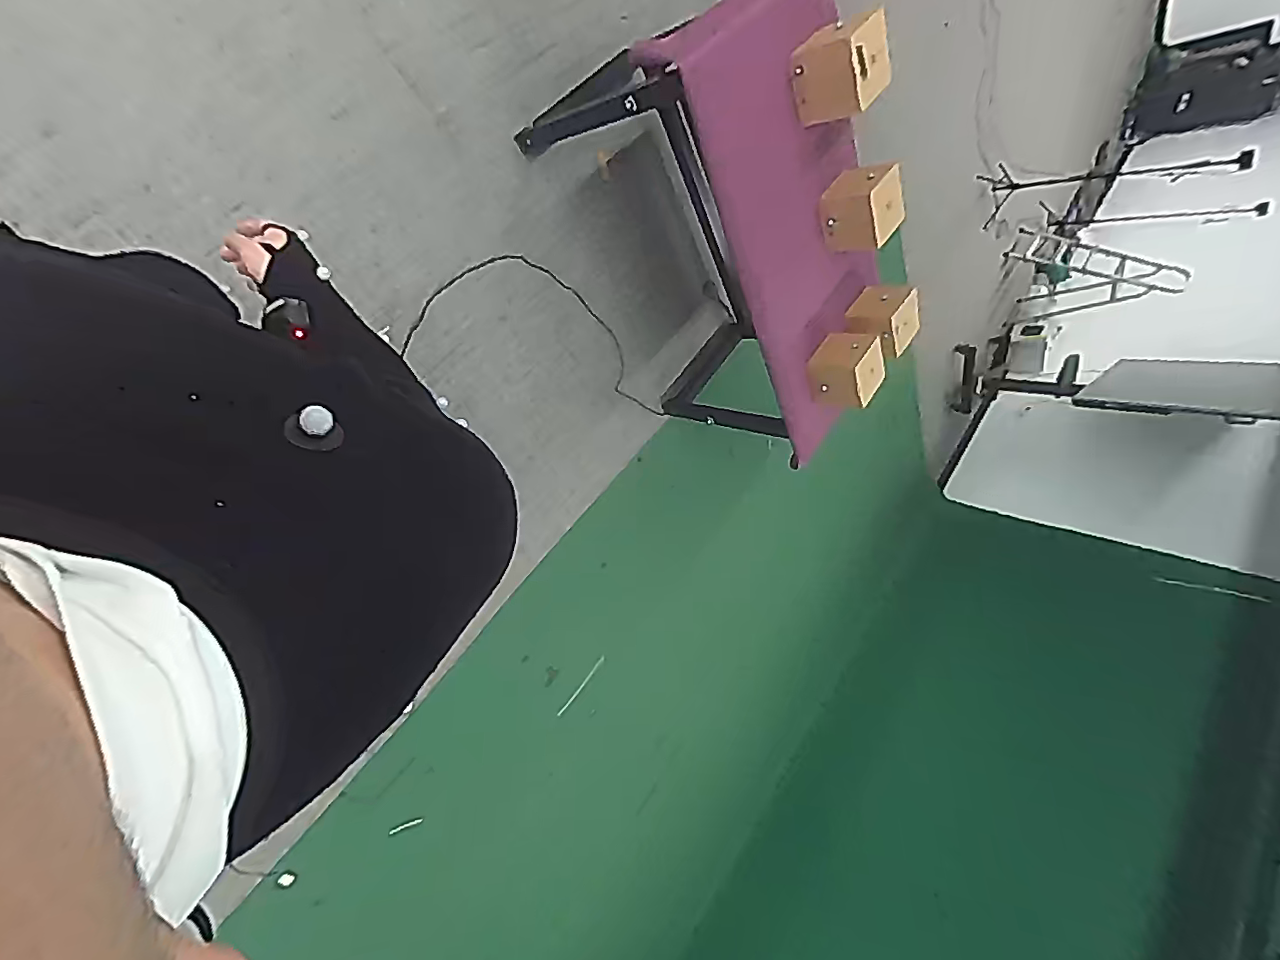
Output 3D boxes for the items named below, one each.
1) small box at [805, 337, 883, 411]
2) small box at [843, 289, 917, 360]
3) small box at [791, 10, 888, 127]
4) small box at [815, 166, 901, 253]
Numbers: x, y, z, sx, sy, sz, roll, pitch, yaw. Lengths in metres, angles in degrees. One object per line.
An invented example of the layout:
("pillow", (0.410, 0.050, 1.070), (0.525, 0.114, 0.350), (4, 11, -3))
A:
("small box", (0.661, -0.349, 1.748), (0.179, 0.176, 0.168), (-50, 131, -23))
("small box", (0.819, -0.534, 1.846), (0.179, 0.176, 0.168), (-50, 131, -20))
("small box", (0.498, -1.029, 1.366), (0.179, 0.176, 0.168), (-51, 133, -21))
("small box", (0.642, -0.791, 1.591), (0.179, 0.176, 0.168), (-49, 131, -21))
